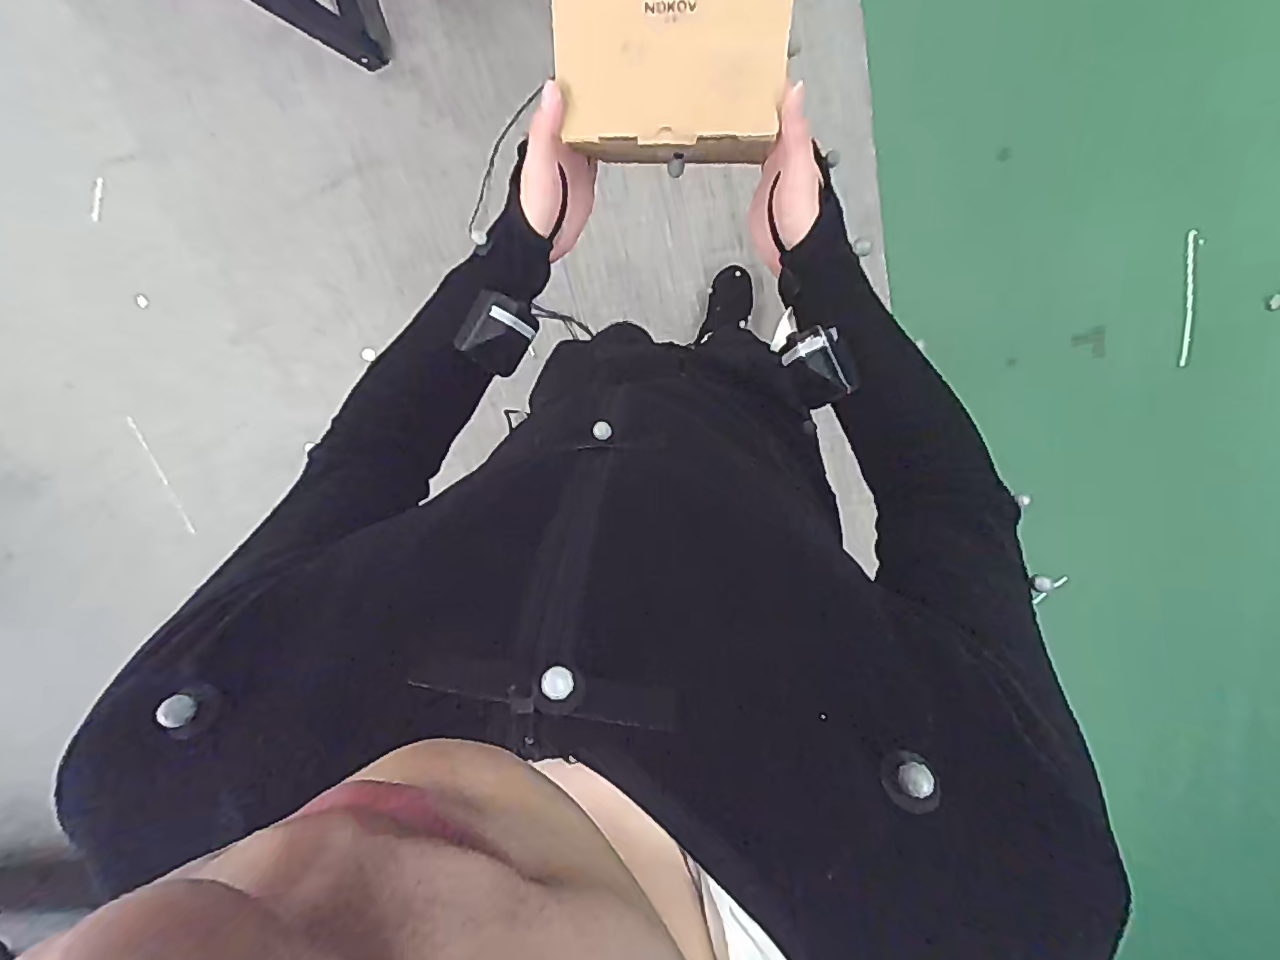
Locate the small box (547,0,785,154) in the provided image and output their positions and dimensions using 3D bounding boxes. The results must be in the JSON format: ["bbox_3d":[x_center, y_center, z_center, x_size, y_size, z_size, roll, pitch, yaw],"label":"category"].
[{"bbox_3d":[0.029,-0.366,0.431,0.168,0.176,0.179,4,117,8],"label":"small box"}]

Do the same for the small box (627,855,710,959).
[{"bbox_3d":[0.079,1.073,1.348,0.168,0.176,0.179,-7,105,13],"label":"small box"}]

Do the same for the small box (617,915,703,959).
[{"bbox_3d":[0.046,1.109,1.190,0.168,0.176,0.179,-9,105,13],"label":"small box"}]
